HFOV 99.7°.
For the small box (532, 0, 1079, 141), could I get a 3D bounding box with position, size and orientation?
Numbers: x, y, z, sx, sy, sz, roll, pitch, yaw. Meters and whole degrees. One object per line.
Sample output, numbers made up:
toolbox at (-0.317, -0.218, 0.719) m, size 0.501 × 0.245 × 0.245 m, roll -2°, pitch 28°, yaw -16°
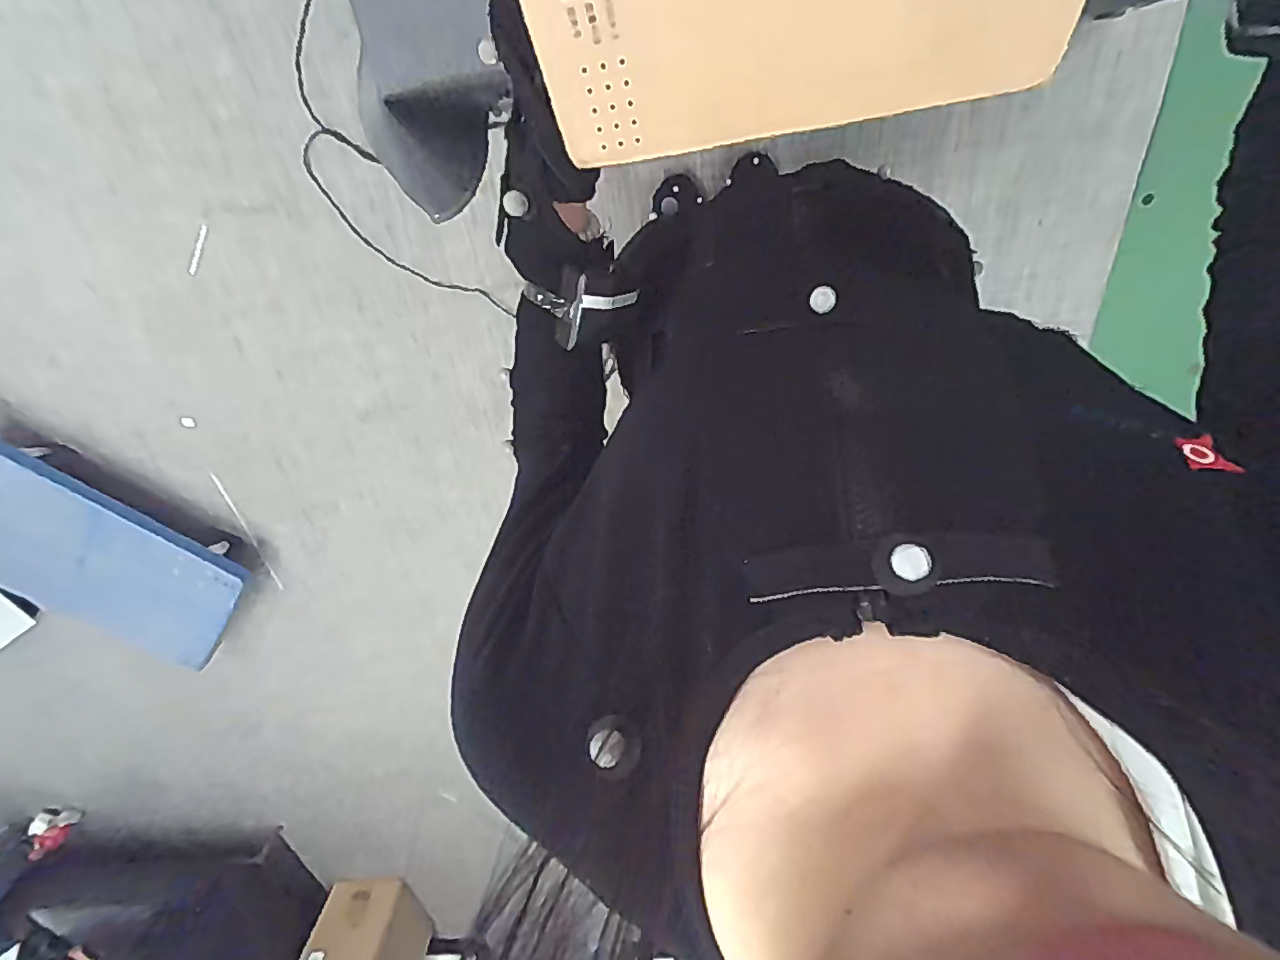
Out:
small box at (0.041, -0.243, 0.164) m, size 0.176 × 0.179 × 0.168 m, roll -5°, pitch 151°, yaw 10°
